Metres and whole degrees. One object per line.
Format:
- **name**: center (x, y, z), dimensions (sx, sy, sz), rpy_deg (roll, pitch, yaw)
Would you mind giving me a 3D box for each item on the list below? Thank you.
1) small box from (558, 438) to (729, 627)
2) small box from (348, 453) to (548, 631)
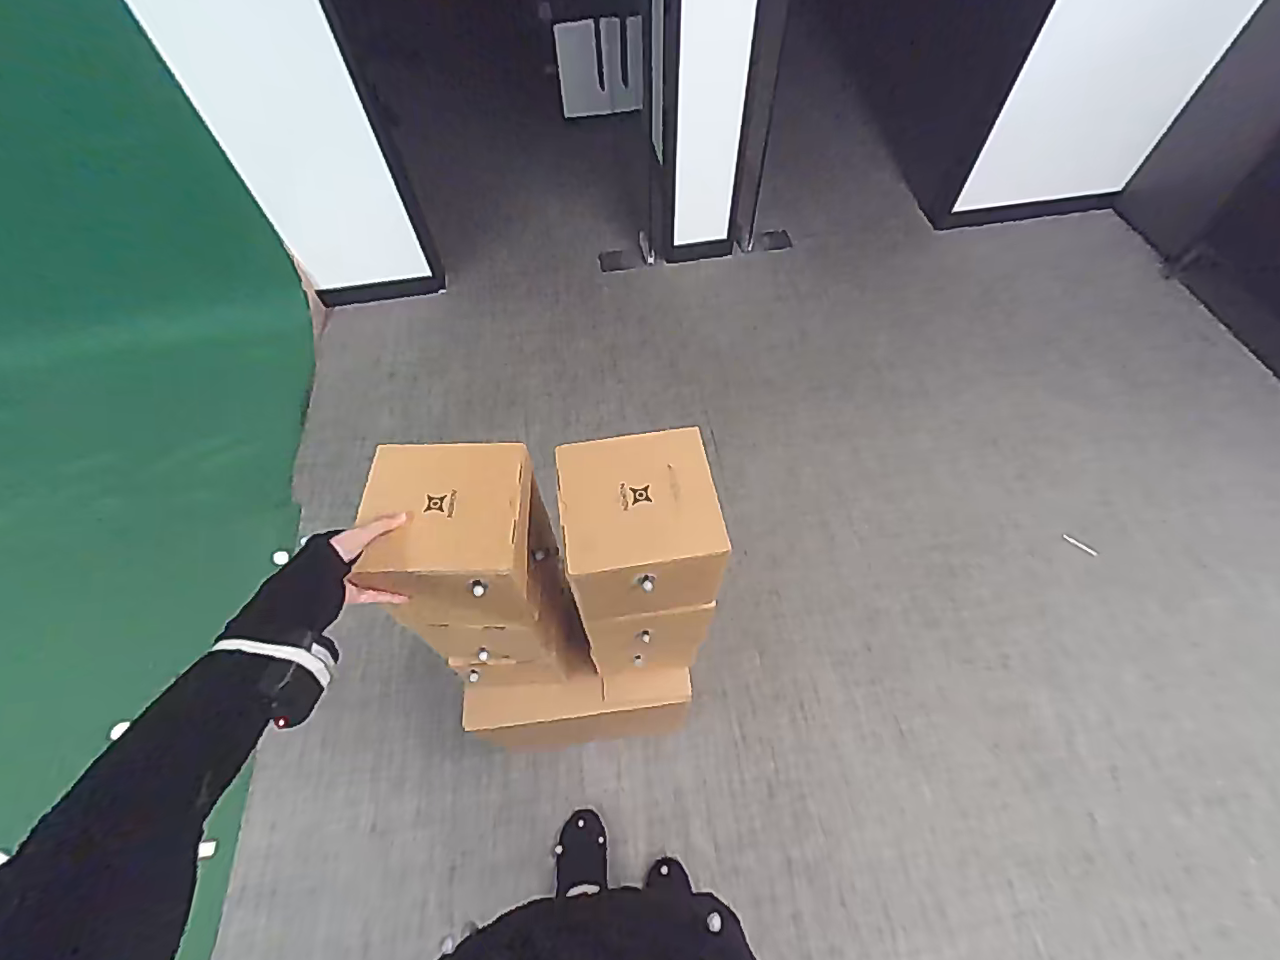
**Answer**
- **small box**: center (0.001, 0.071, 0.669), dimensions (0.179, 0.176, 0.168), rpy_deg (-8, 59, -4)
- **small box**: center (-0.217, 0.082, 0.669), dimensions (0.179, 0.176, 0.168), rpy_deg (-1, 58, -1)
